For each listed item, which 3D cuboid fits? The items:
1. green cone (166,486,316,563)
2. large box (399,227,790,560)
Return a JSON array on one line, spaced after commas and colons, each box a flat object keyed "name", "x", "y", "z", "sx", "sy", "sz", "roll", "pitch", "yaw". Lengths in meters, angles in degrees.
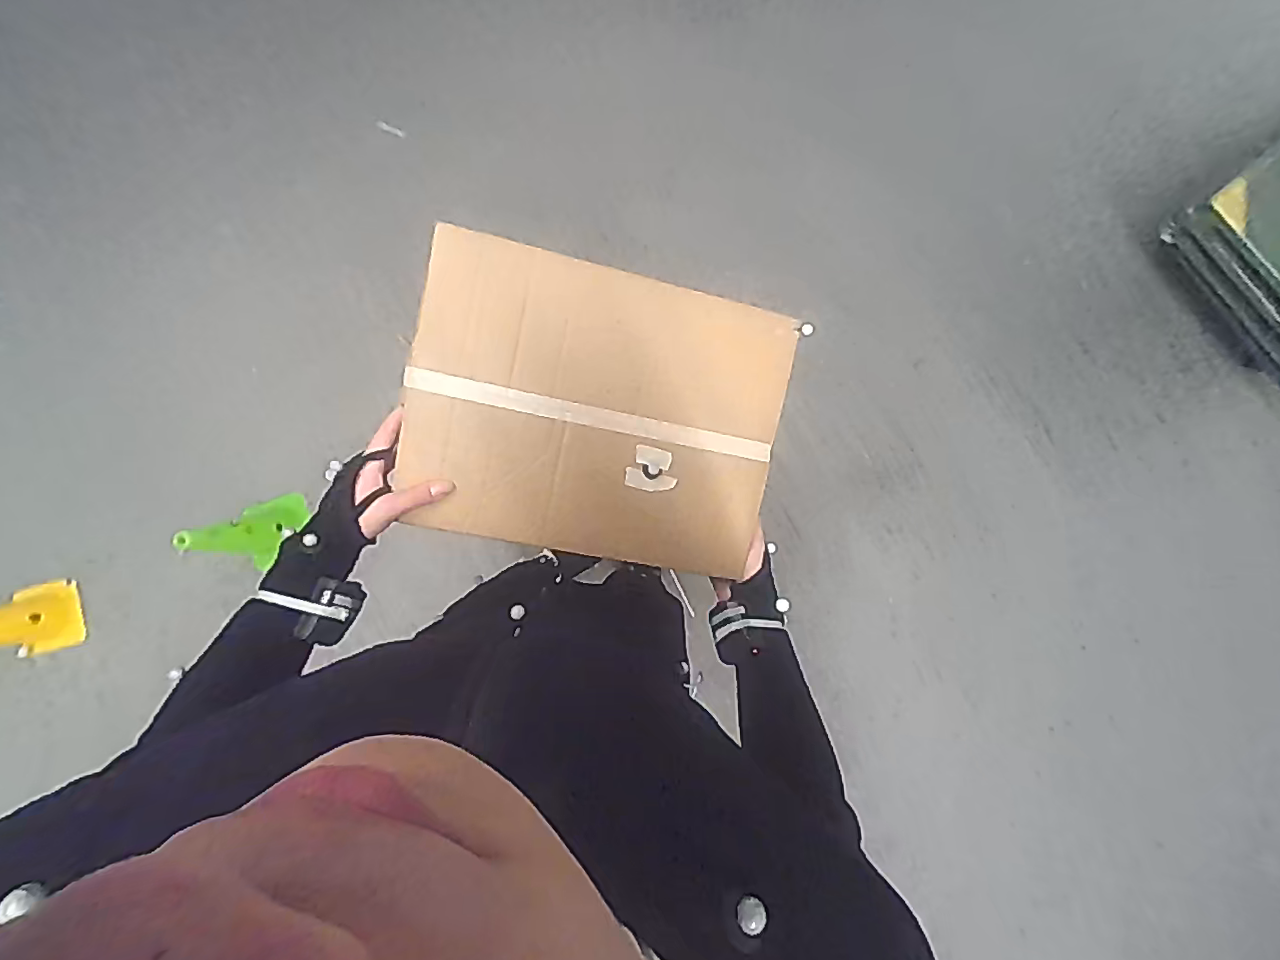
[{"name": "green cone", "x": -1.114, "y": 0.129, "z": 1.482, "sx": 0.202, "sy": 0.368, "sz": 0.200, "roll": -18, "pitch": 87, "yaw": 2}, {"name": "large box", "x": -0.071, "y": -0.100, "z": 0.748, "sx": 0.408, "sy": 0.320, "sz": 0.320, "roll": 10, "pitch": 97, "yaw": -12}]
